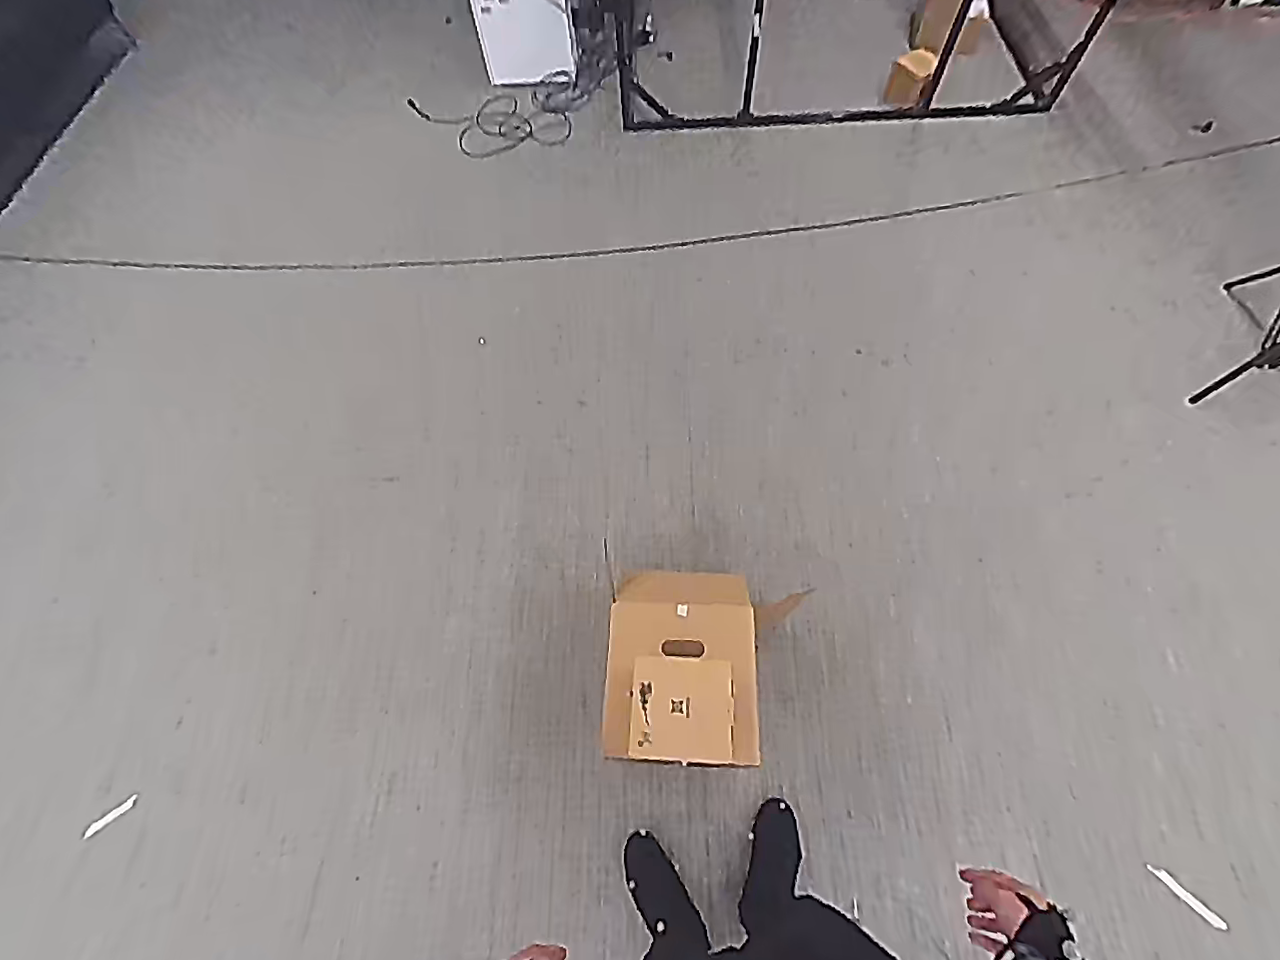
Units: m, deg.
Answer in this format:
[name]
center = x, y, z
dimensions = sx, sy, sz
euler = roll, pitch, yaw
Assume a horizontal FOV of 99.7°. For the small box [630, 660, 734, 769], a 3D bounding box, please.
[small box]
center = 0.077, 0.438, 1.013
dimensions = 0.179, 0.176, 0.168
euler = 3, 65, 3
